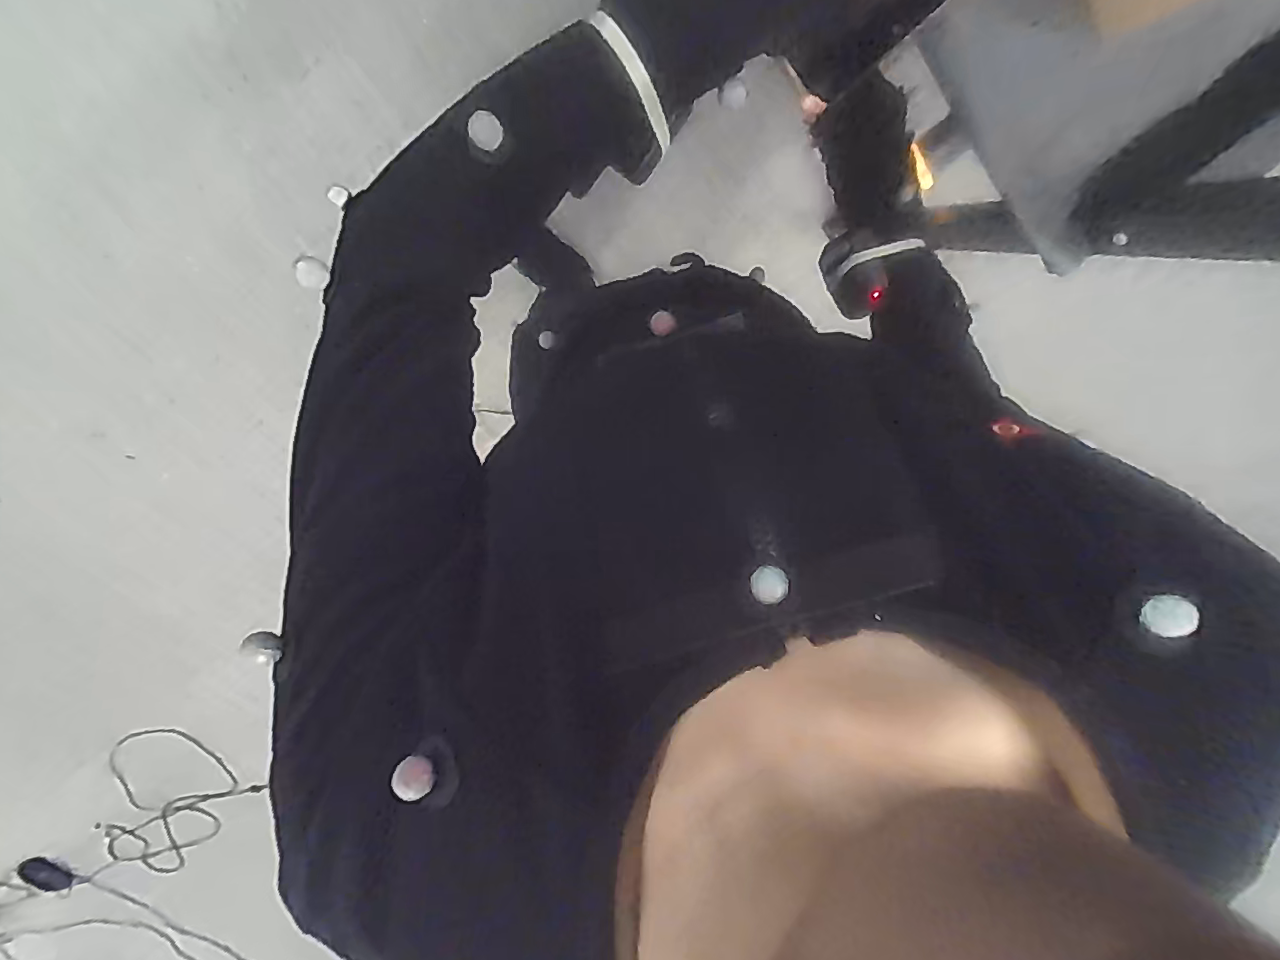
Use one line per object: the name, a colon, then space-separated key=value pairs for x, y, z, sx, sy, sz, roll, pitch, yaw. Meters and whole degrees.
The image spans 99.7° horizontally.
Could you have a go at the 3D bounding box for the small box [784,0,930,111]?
small box: x=0.384 y=-0.823 z=0.995 sx=0.179 sy=0.176 sz=0.168 roll=-33 pitch=112 yaw=11
